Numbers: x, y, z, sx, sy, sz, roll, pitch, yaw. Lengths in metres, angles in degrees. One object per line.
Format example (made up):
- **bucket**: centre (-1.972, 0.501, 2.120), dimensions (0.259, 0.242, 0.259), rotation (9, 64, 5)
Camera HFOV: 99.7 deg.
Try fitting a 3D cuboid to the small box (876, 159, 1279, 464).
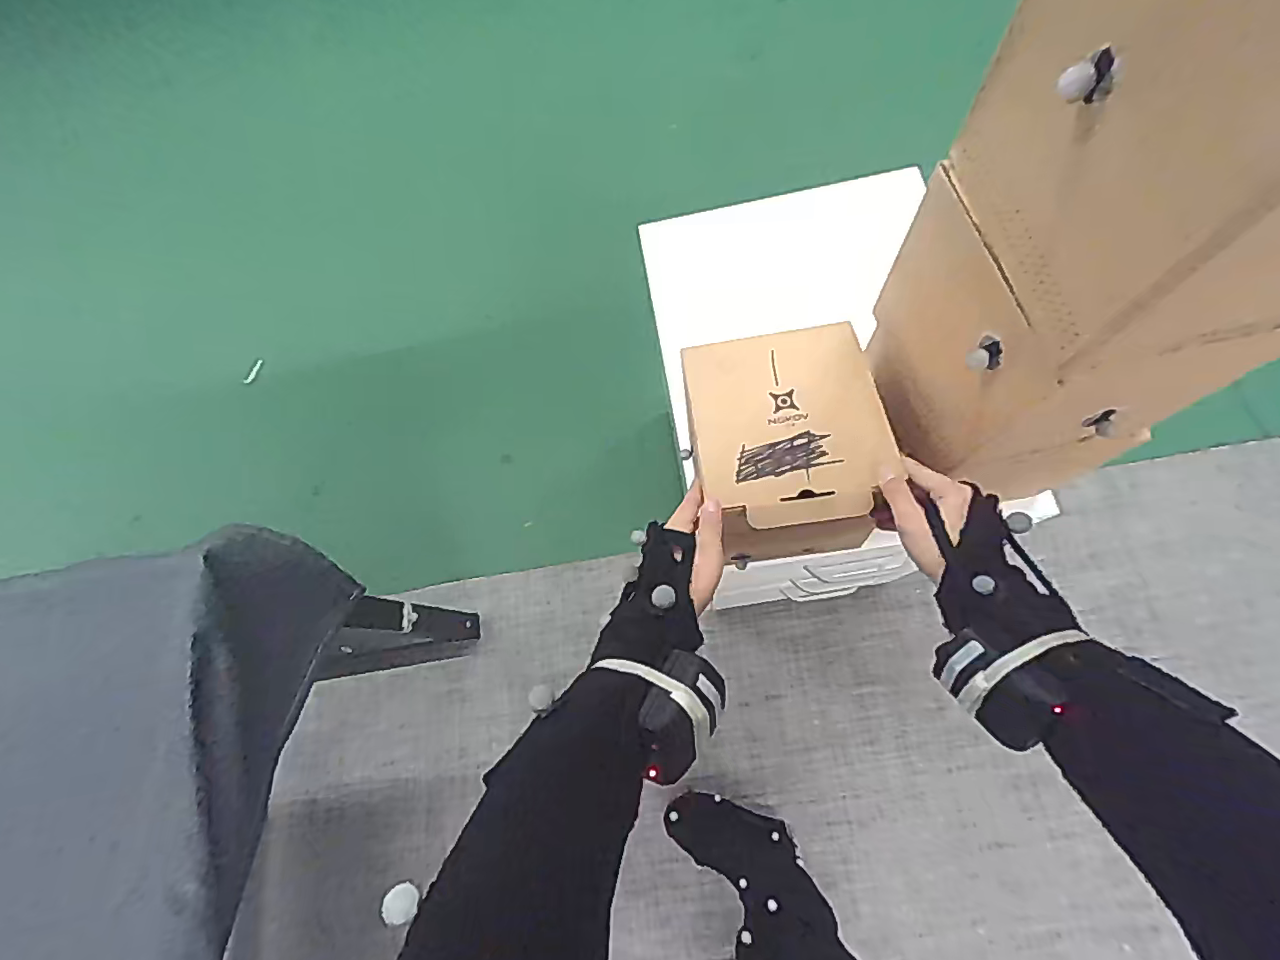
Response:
- **small box**: centre (0.303, -0.123, 0.401), dimensions (0.168, 0.176, 0.179), rotation (-13, 71, 2)
